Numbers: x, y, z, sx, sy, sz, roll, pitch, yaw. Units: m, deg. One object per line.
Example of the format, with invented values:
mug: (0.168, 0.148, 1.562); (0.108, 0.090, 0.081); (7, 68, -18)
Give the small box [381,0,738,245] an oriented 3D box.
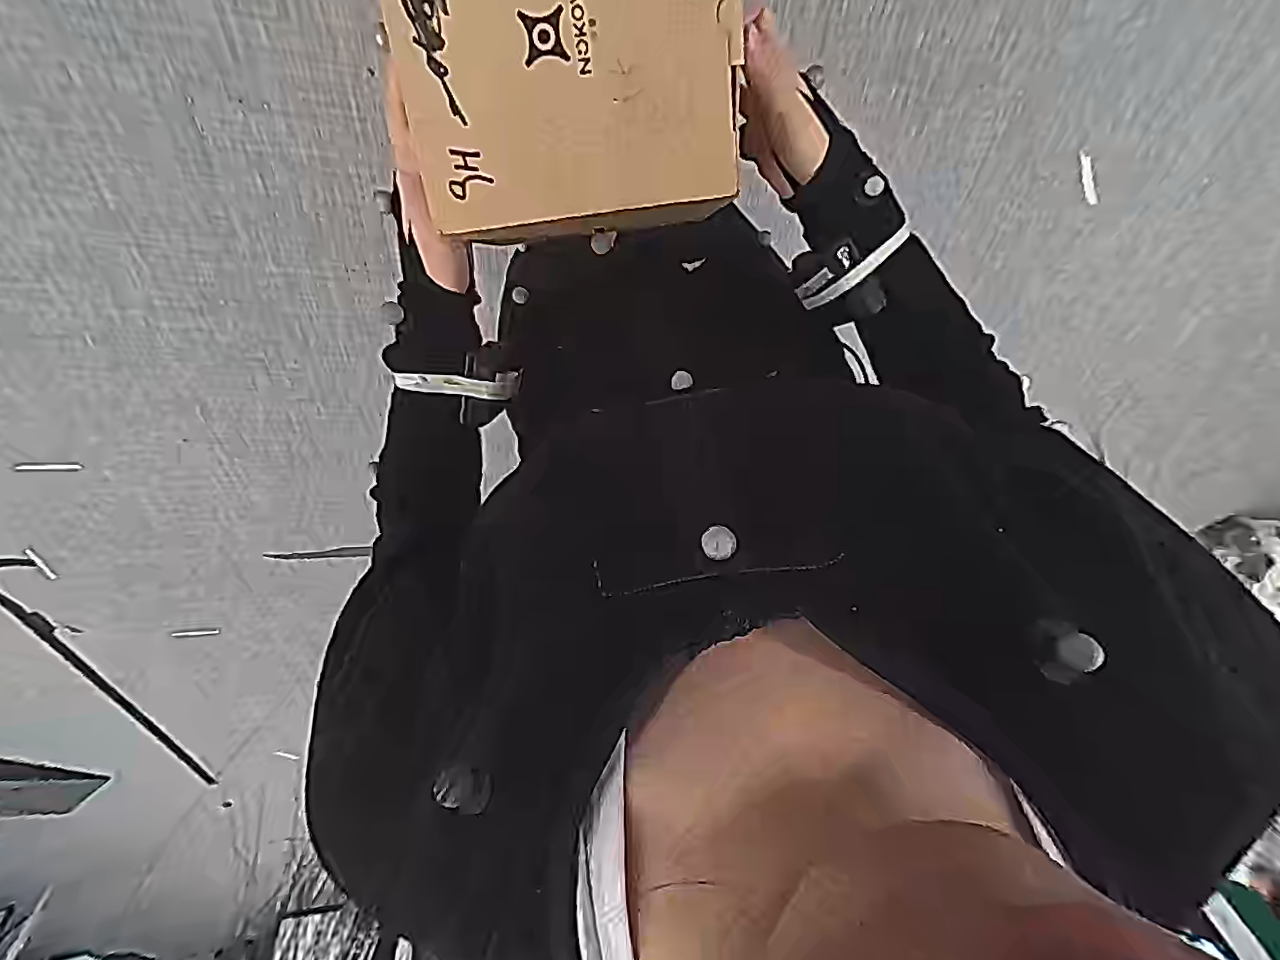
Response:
small box: (-0.043, -0.251, 0.349); (0.179, 0.176, 0.168); (-7, 111, 0)
